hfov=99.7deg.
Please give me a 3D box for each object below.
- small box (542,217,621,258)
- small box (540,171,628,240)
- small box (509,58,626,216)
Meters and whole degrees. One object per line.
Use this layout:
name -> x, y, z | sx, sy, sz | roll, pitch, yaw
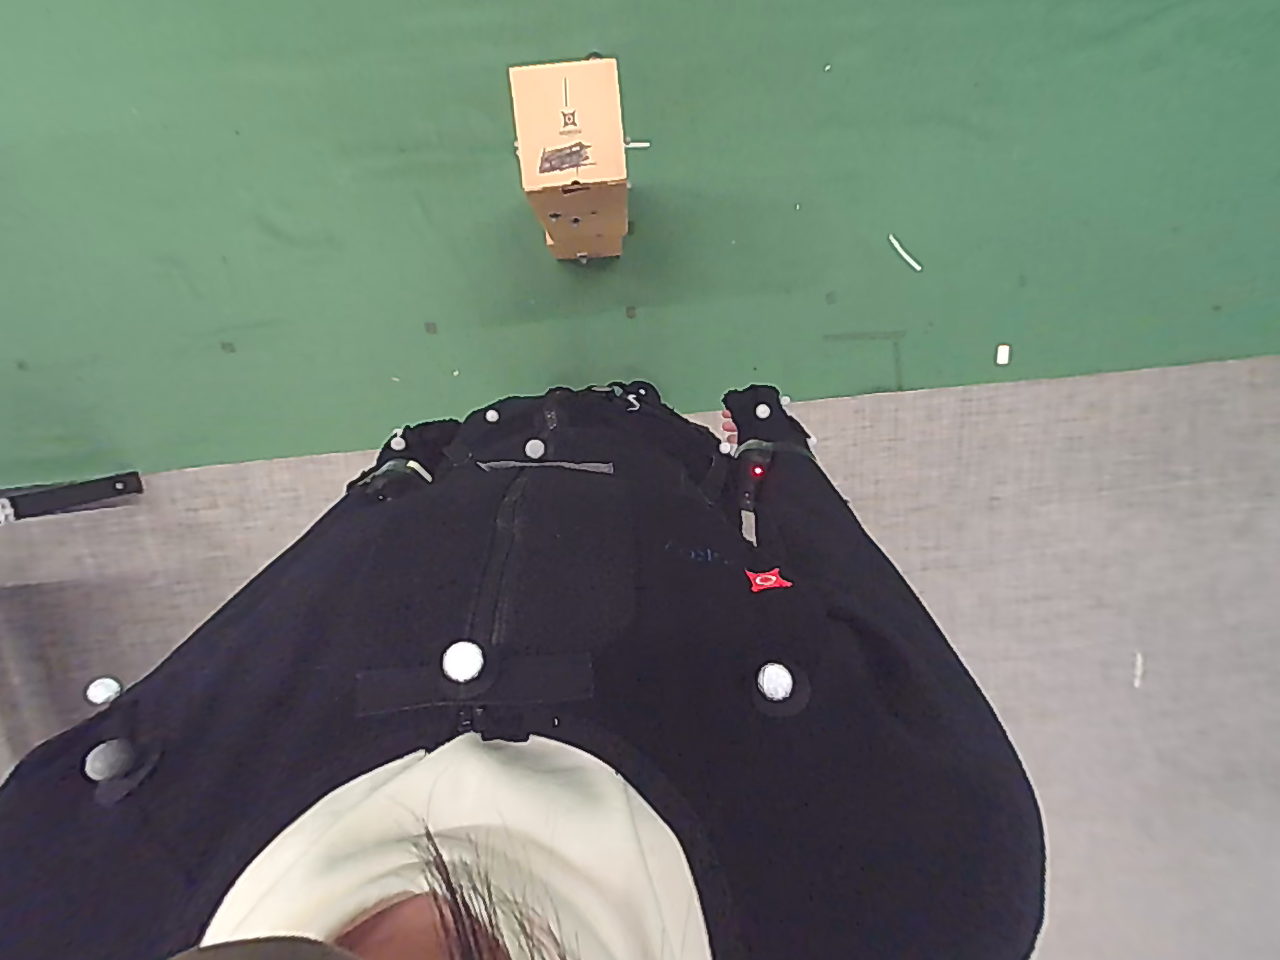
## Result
small box -> -0.129, -0.611, 1.213 | 0.168, 0.176, 0.179 | -2, 101, 0
small box -> -0.115, -0.590, 1.070 | 0.168, 0.176, 0.179 | -6, 100, 0
small box -> -0.112, -0.559, 0.908 | 0.168, 0.176, 0.179 | -6, 100, -1
